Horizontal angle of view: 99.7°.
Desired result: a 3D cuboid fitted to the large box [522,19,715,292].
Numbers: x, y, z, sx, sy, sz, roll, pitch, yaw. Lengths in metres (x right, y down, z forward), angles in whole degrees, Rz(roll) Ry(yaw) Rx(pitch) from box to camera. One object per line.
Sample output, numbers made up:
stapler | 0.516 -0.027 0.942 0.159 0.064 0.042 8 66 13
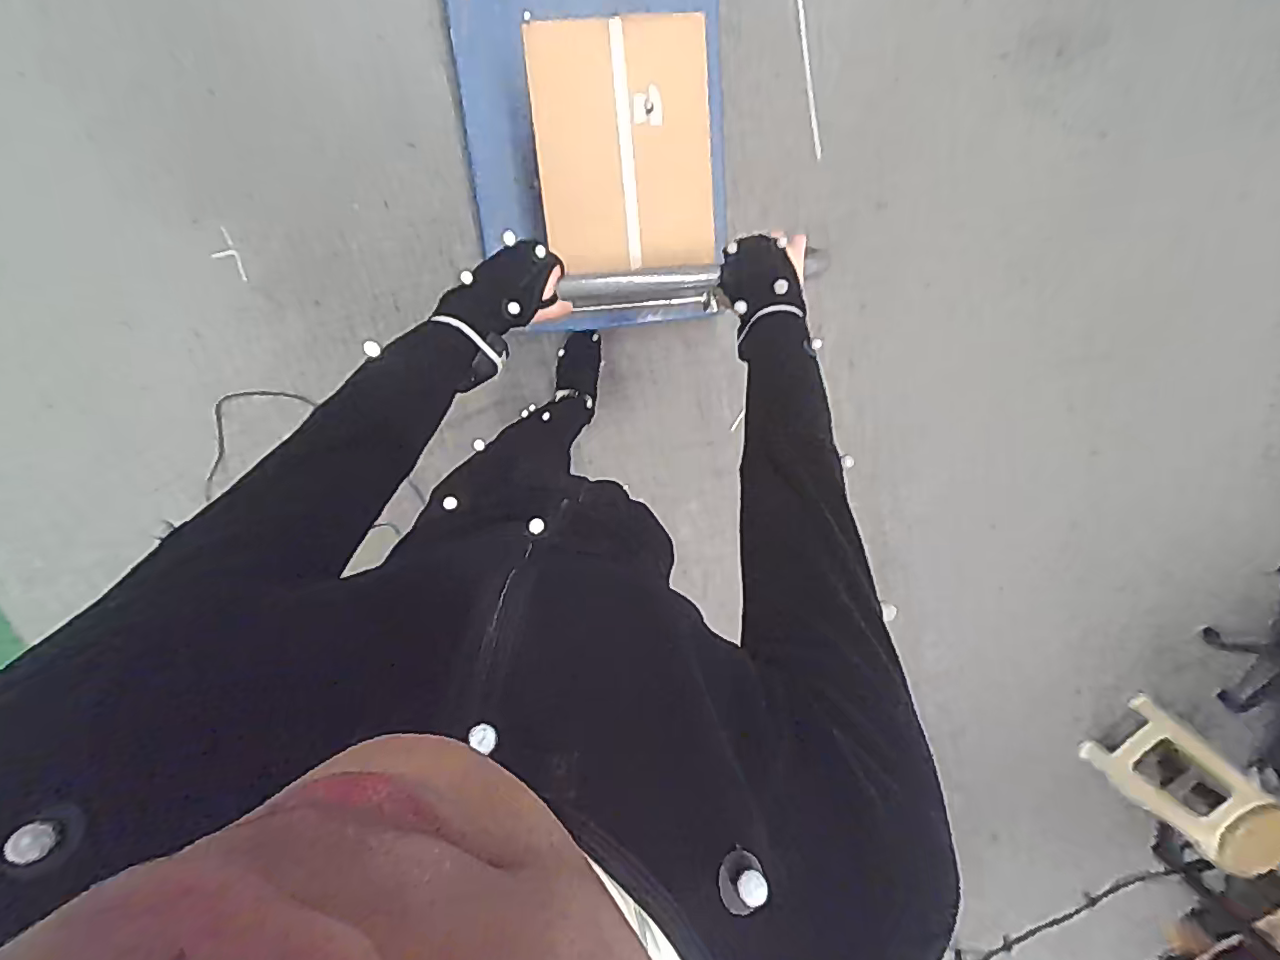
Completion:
large box | -0.044 -0.620 1.112 0.320 0.320 0.408 -7 106 -6
